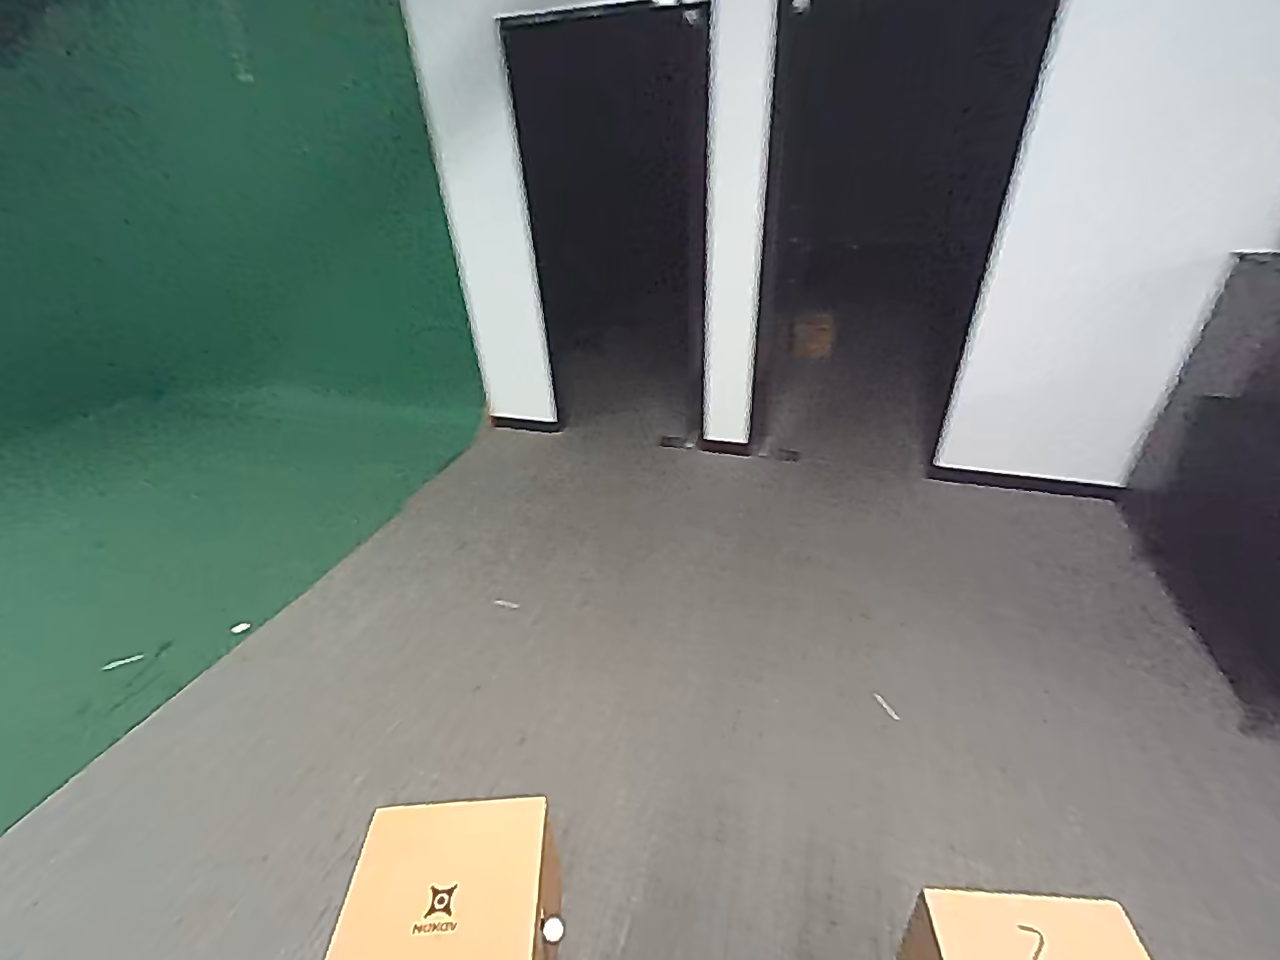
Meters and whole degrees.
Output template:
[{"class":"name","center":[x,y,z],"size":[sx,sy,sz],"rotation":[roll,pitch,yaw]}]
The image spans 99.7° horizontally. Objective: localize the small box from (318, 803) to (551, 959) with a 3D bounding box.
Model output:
[{"class":"small box","center":[-0.174,0.430,0.491],"size":[0.168,0.176,0.179],"rotation":[-3,32,-3]}]
